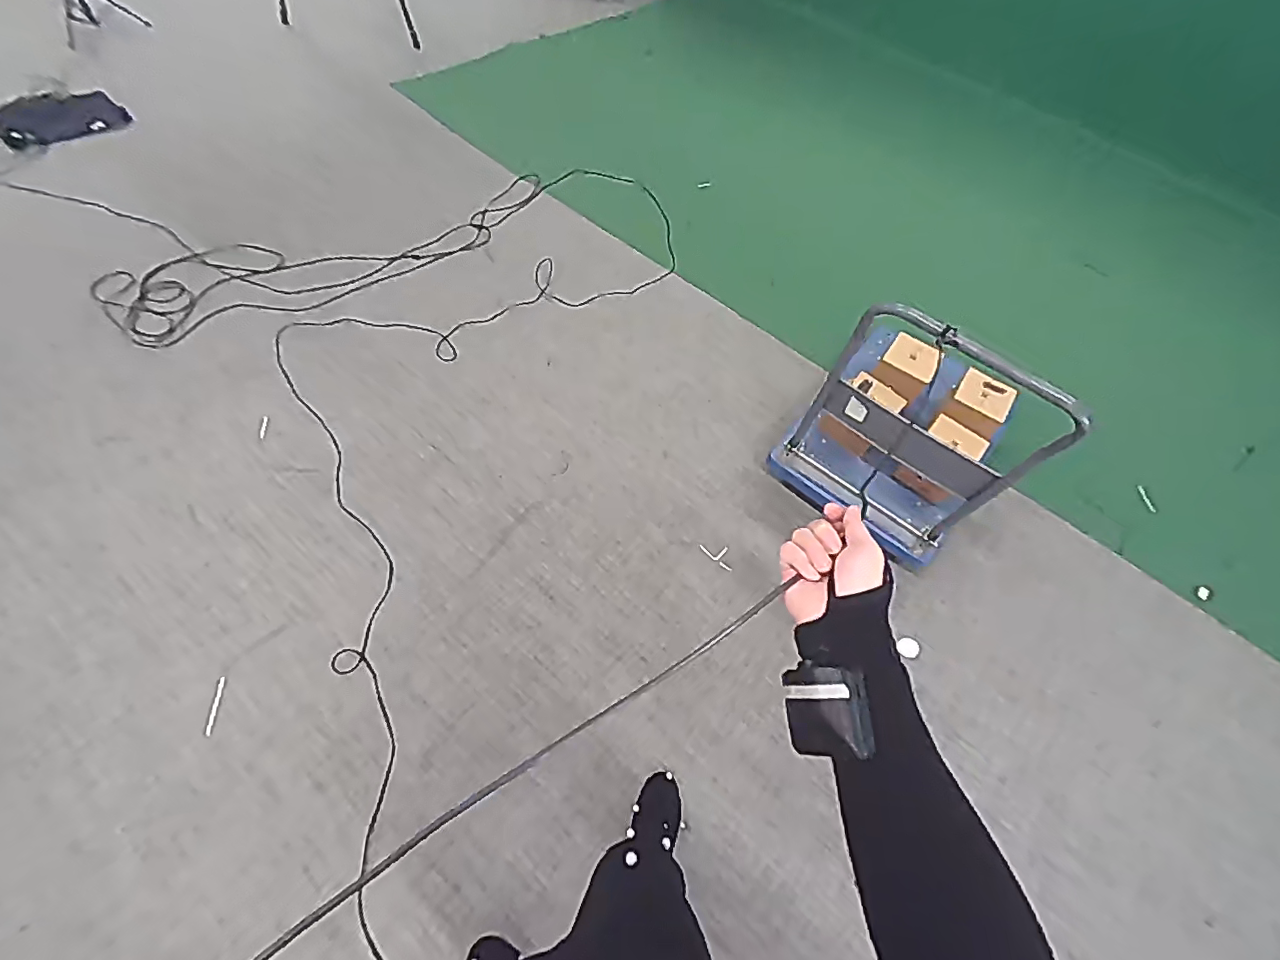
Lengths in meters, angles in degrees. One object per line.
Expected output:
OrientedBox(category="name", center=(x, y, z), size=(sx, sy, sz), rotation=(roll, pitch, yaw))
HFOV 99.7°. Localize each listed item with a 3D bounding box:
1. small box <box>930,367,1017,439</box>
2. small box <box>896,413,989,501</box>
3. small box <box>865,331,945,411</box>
OrientedBox(category="small box", center=(1.114, -0.239, 1.817), size=(0.168, 0.176, 0.179), rotation=(34, 63, 15))
OrientedBox(category="small box", center=(0.941, -0.069, 1.698), size=(0.168, 0.176, 0.179), rotation=(38, 64, 16))
OrientedBox(category="small box", center=(0.911, -0.374, 1.877), size=(0.168, 0.176, 0.179), rotation=(34, 62, 13))
